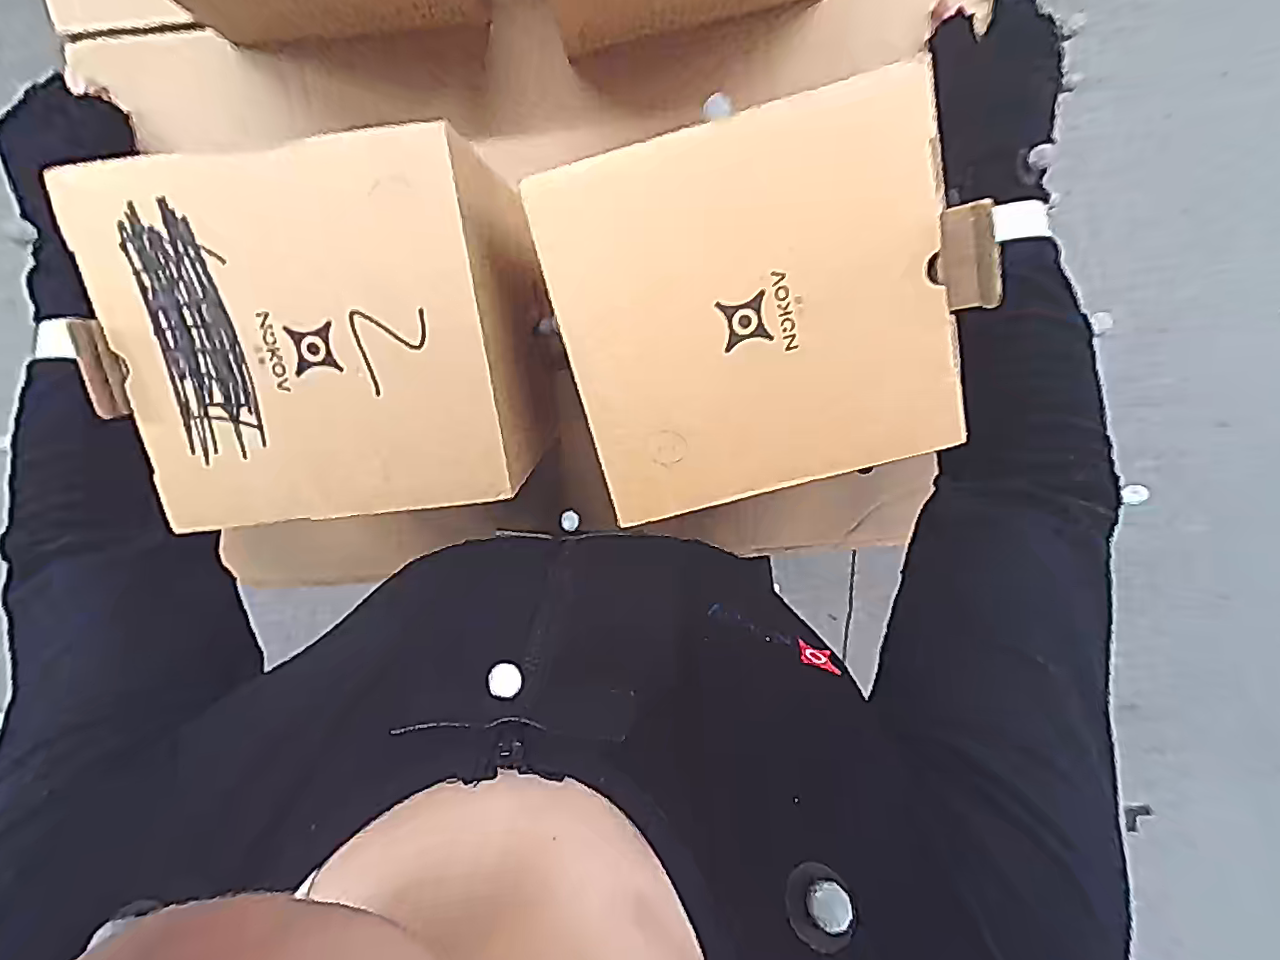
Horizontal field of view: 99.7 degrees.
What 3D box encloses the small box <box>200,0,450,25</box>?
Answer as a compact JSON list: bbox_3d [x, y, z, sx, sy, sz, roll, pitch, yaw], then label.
[{"bbox_3d":[-0.191,-0.360,0.257,0.179,0.176,0.168,-3,104,2],"label":"small box"}]
